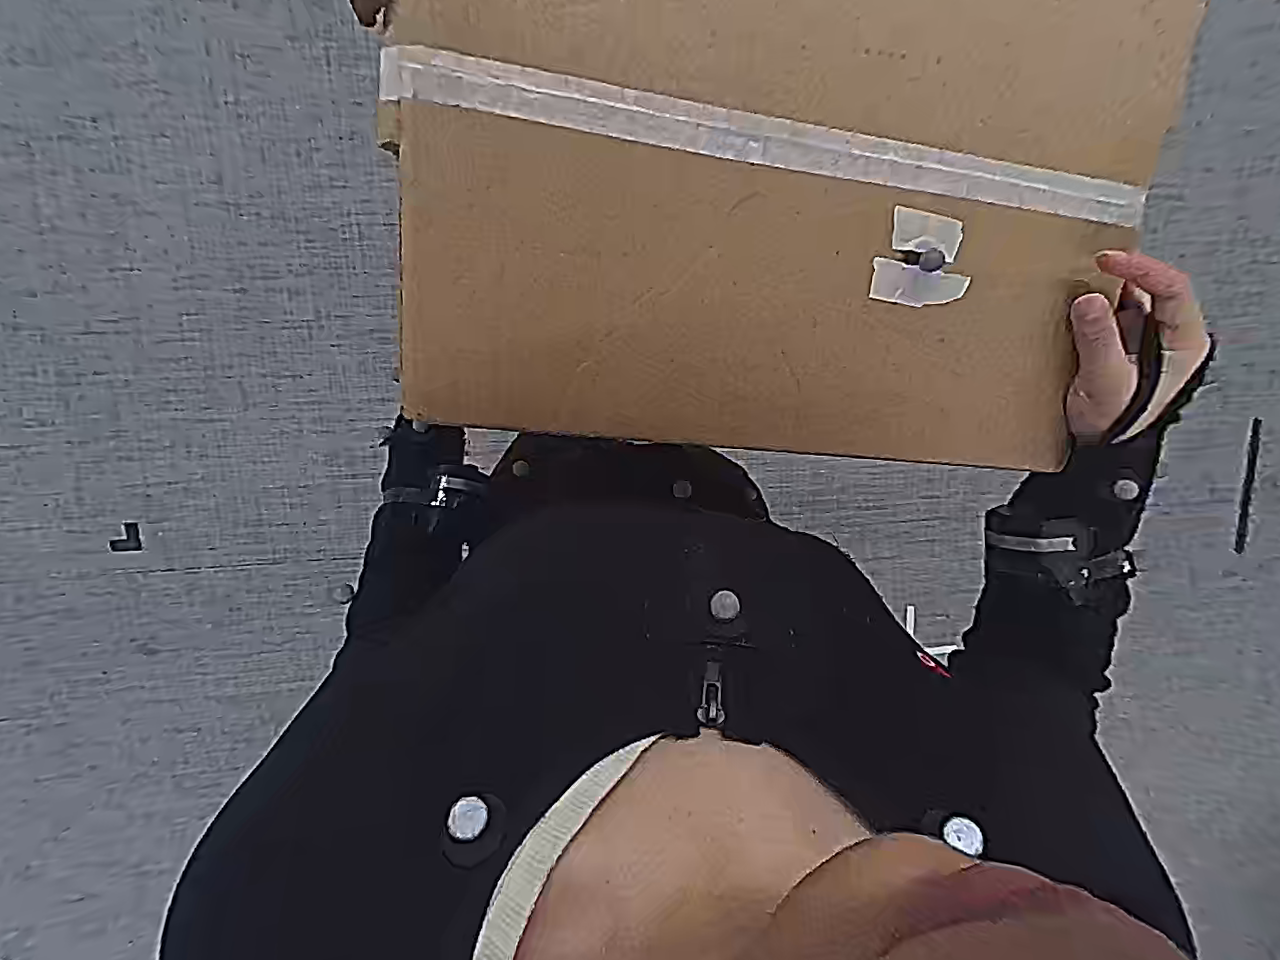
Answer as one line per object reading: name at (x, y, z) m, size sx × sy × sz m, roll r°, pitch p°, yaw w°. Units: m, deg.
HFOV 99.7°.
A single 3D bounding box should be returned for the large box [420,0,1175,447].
large box at (0.064, -0.215, 0.427) m, size 0.408 × 0.320 × 0.320 m, roll 3°, pitch 105°, yaw -12°
